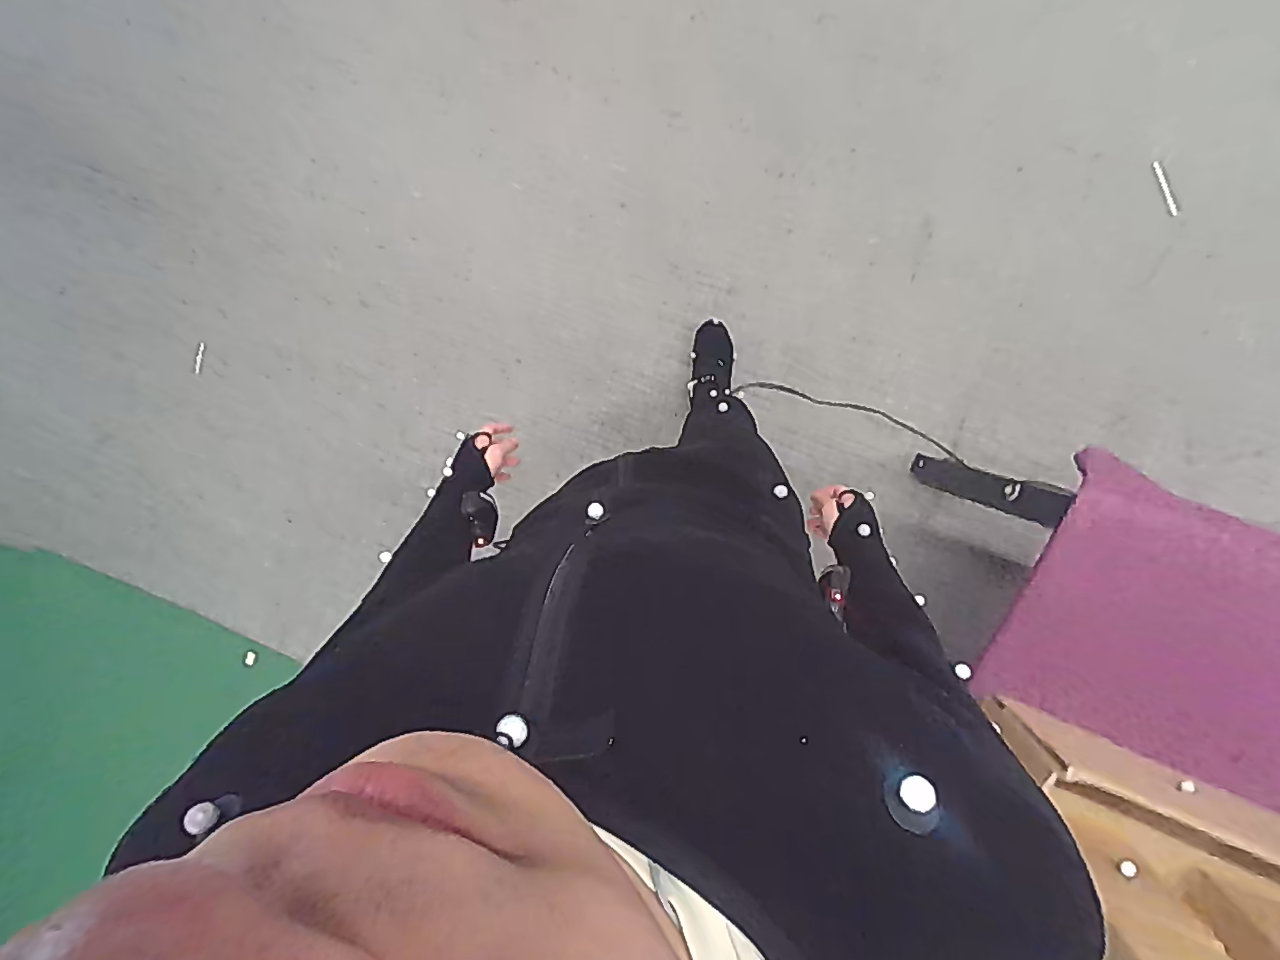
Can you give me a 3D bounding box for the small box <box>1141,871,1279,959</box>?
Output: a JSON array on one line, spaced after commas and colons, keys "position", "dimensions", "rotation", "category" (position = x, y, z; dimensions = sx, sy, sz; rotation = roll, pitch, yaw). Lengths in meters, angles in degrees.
[{"position": [0.861, 0.685, 0.732], "dimensions": [0.179, 0.176, 0.168], "rotation": [21, 102, 6], "category": "small box"}]
